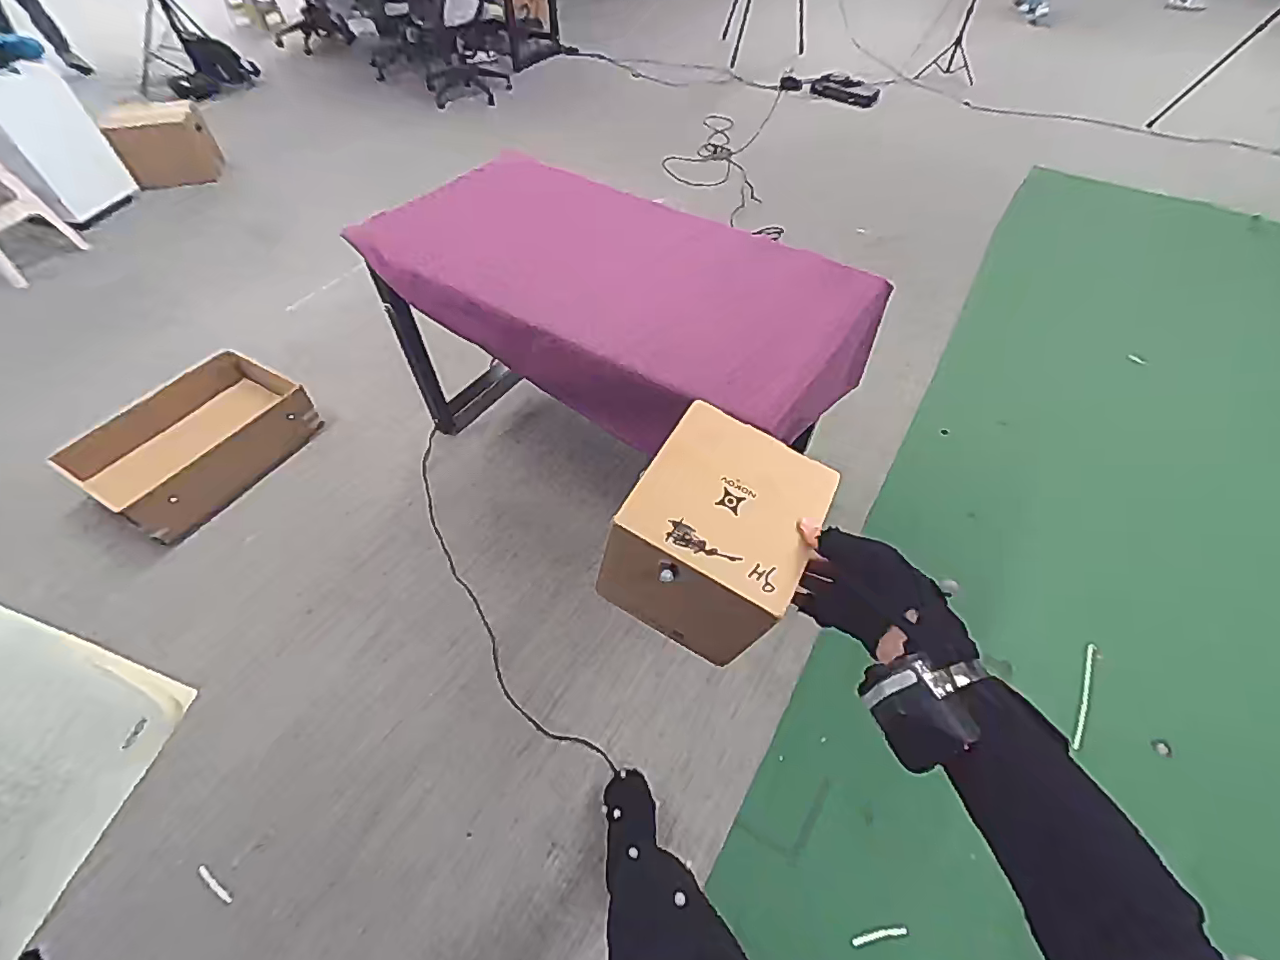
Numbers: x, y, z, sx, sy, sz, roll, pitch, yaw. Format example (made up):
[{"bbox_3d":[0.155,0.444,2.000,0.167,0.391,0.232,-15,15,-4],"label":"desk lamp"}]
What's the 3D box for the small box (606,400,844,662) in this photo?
[{"bbox_3d":[0.078,0.057,0.565,0.168,0.176,0.179,30,56,8],"label":"small box"}]
